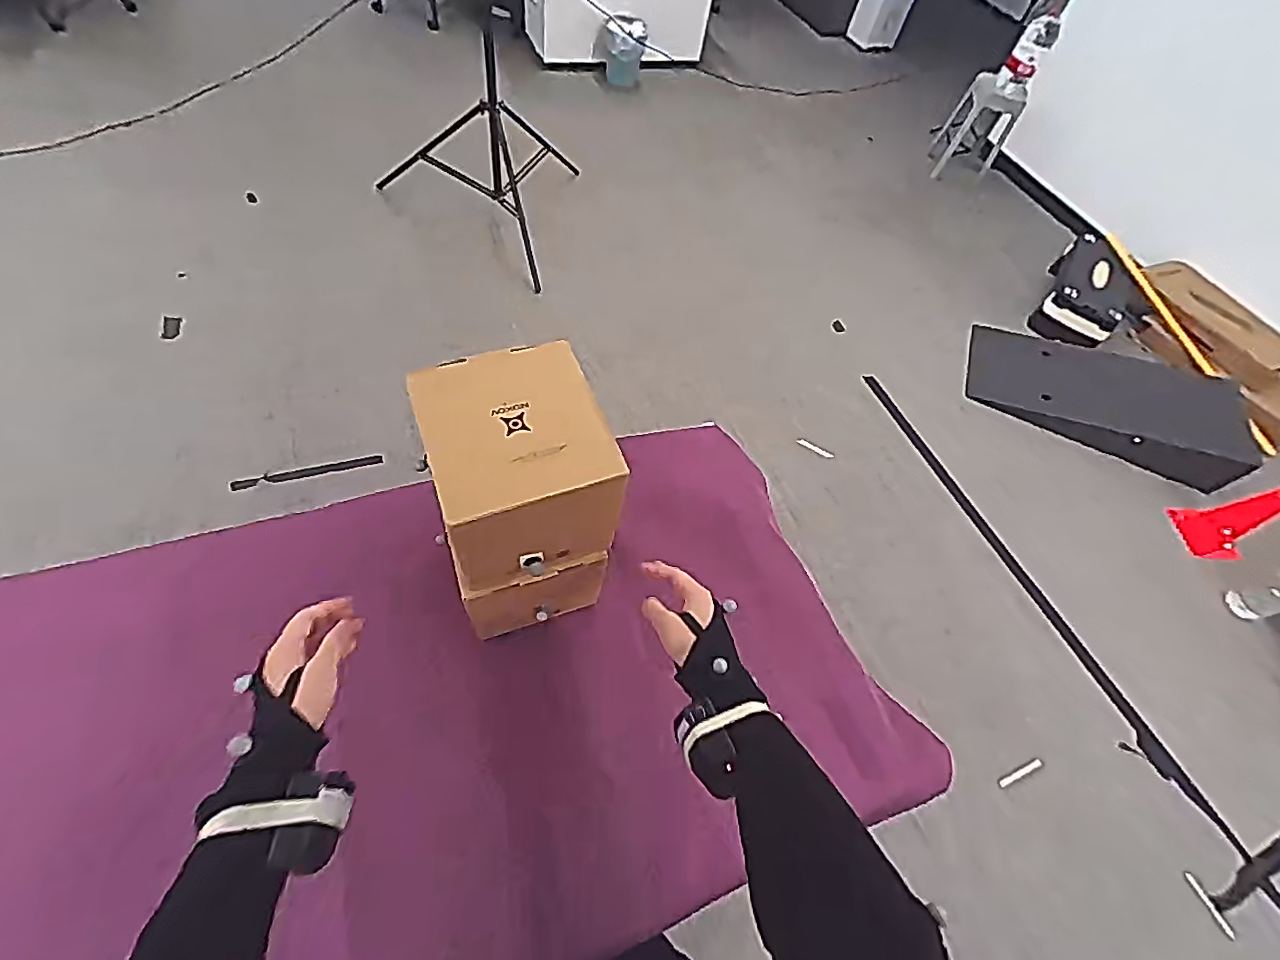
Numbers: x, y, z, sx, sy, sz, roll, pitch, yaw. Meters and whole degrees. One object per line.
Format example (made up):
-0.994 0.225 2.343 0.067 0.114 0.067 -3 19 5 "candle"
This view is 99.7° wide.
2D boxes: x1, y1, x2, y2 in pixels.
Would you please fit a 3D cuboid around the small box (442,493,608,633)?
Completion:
-0.153 0.075 0.704 0.168 0.176 0.179 -15 63 -18 "small box"

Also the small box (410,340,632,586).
-0.125 -0.015 0.571 0.168 0.176 0.179 -18 64 -19 "small box"
